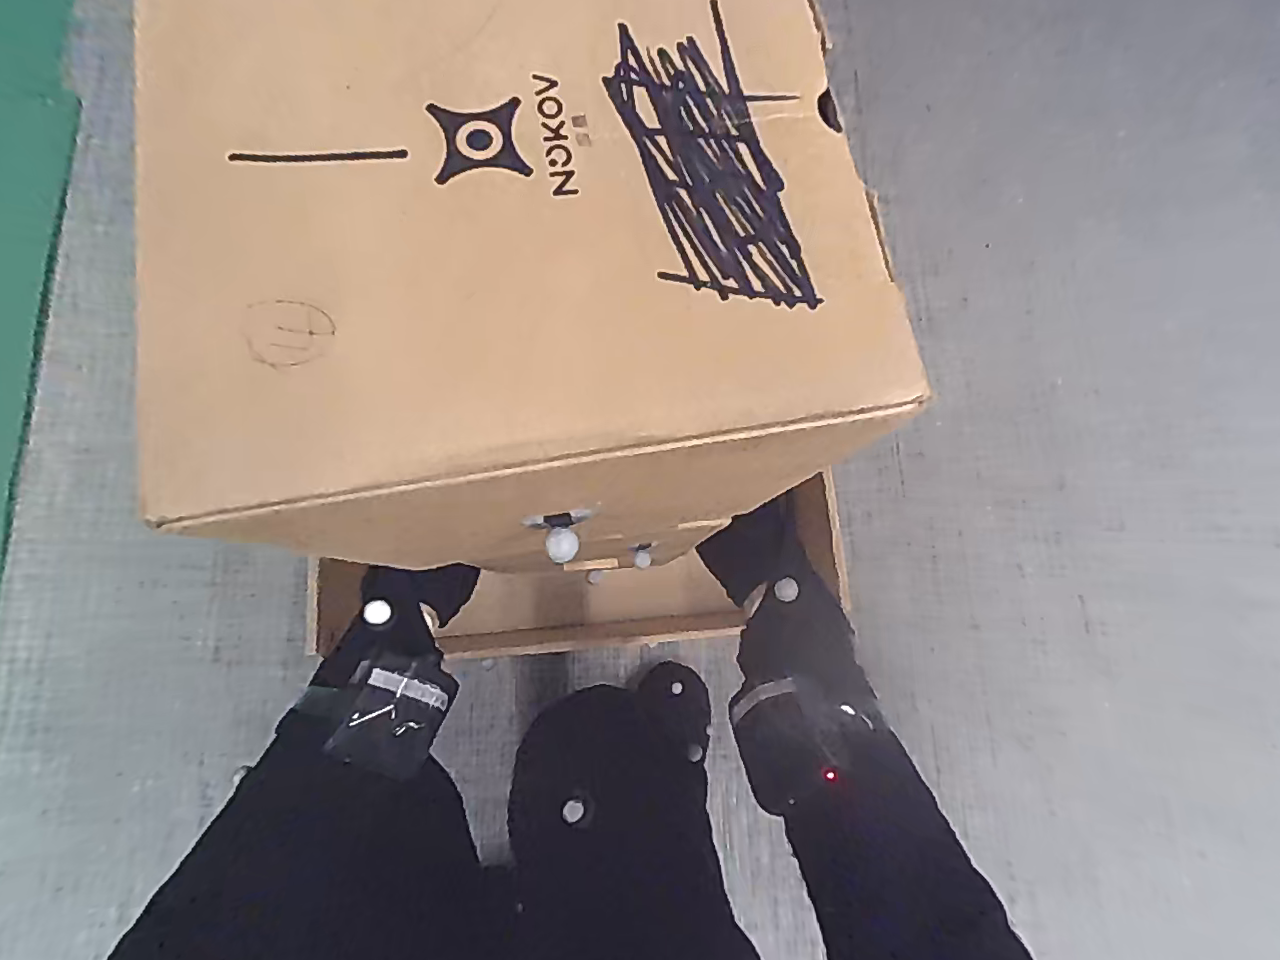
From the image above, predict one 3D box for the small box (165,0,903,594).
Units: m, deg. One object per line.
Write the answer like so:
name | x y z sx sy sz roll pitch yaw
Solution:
small box | -0.037 -0.053 0.224 0.179 0.176 0.168 -12 79 -8
